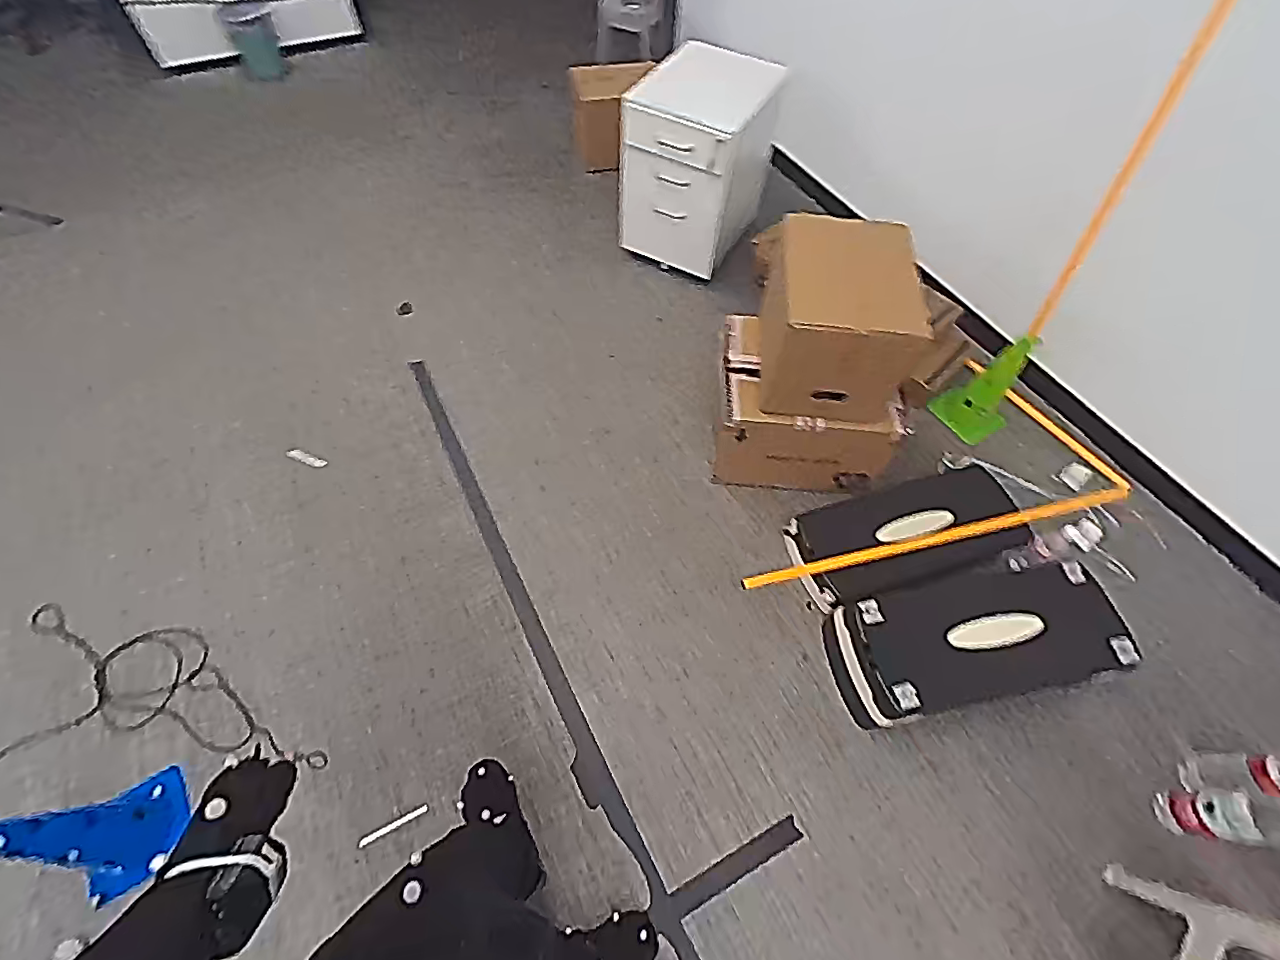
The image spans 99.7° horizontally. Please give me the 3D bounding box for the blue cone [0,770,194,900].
[{"bbox_3d":[-1.079,0.674,1.032,0.193,0.380,0.192,-28,64,-18],"label":"blue cone"}]
